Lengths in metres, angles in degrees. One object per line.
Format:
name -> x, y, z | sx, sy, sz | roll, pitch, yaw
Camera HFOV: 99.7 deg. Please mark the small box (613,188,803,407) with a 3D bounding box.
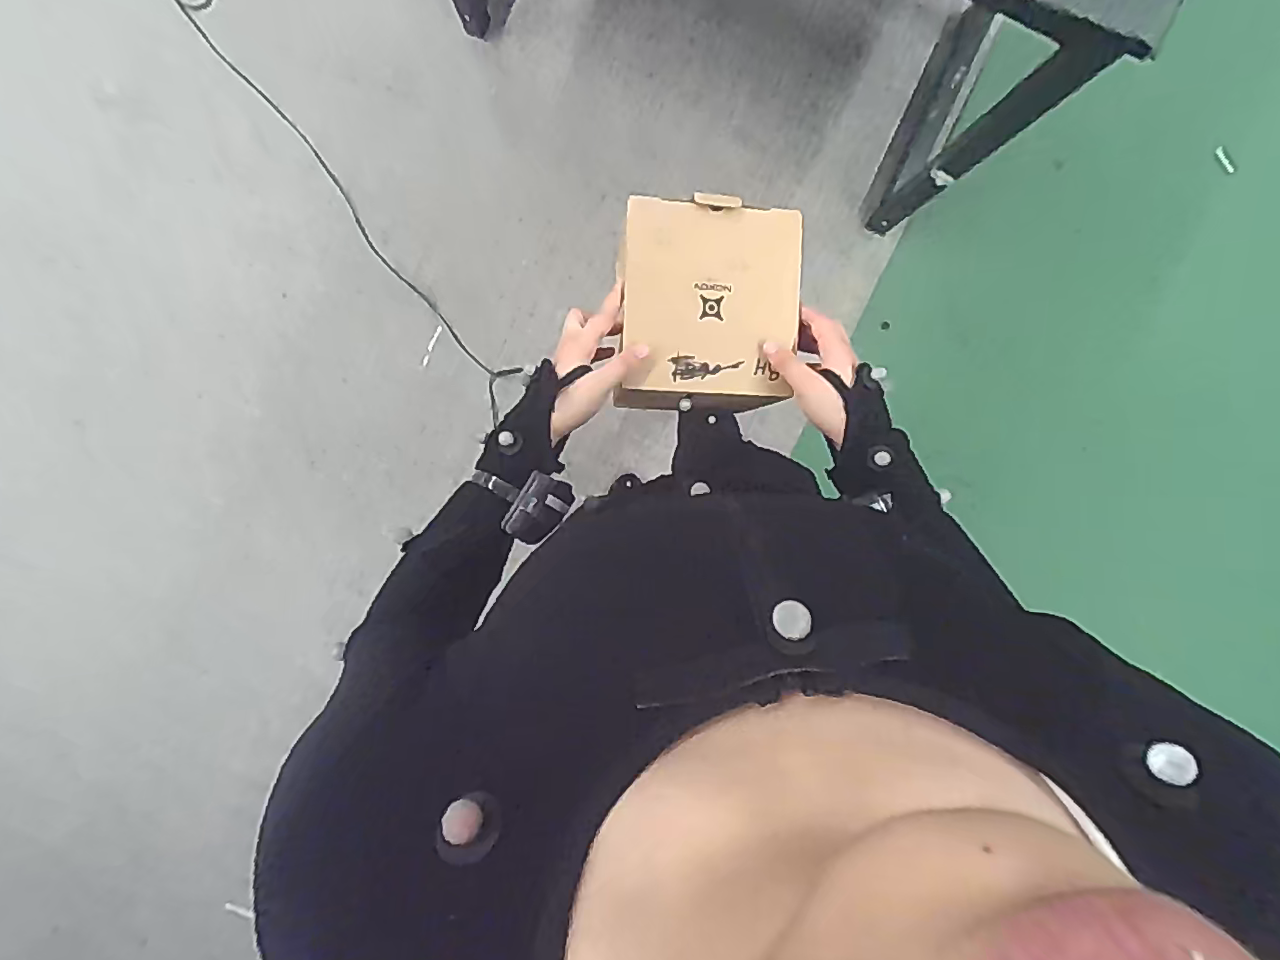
small box -> 0.059, -0.176, 0.575 | 0.168, 0.176, 0.179 | 2, 93, -6
